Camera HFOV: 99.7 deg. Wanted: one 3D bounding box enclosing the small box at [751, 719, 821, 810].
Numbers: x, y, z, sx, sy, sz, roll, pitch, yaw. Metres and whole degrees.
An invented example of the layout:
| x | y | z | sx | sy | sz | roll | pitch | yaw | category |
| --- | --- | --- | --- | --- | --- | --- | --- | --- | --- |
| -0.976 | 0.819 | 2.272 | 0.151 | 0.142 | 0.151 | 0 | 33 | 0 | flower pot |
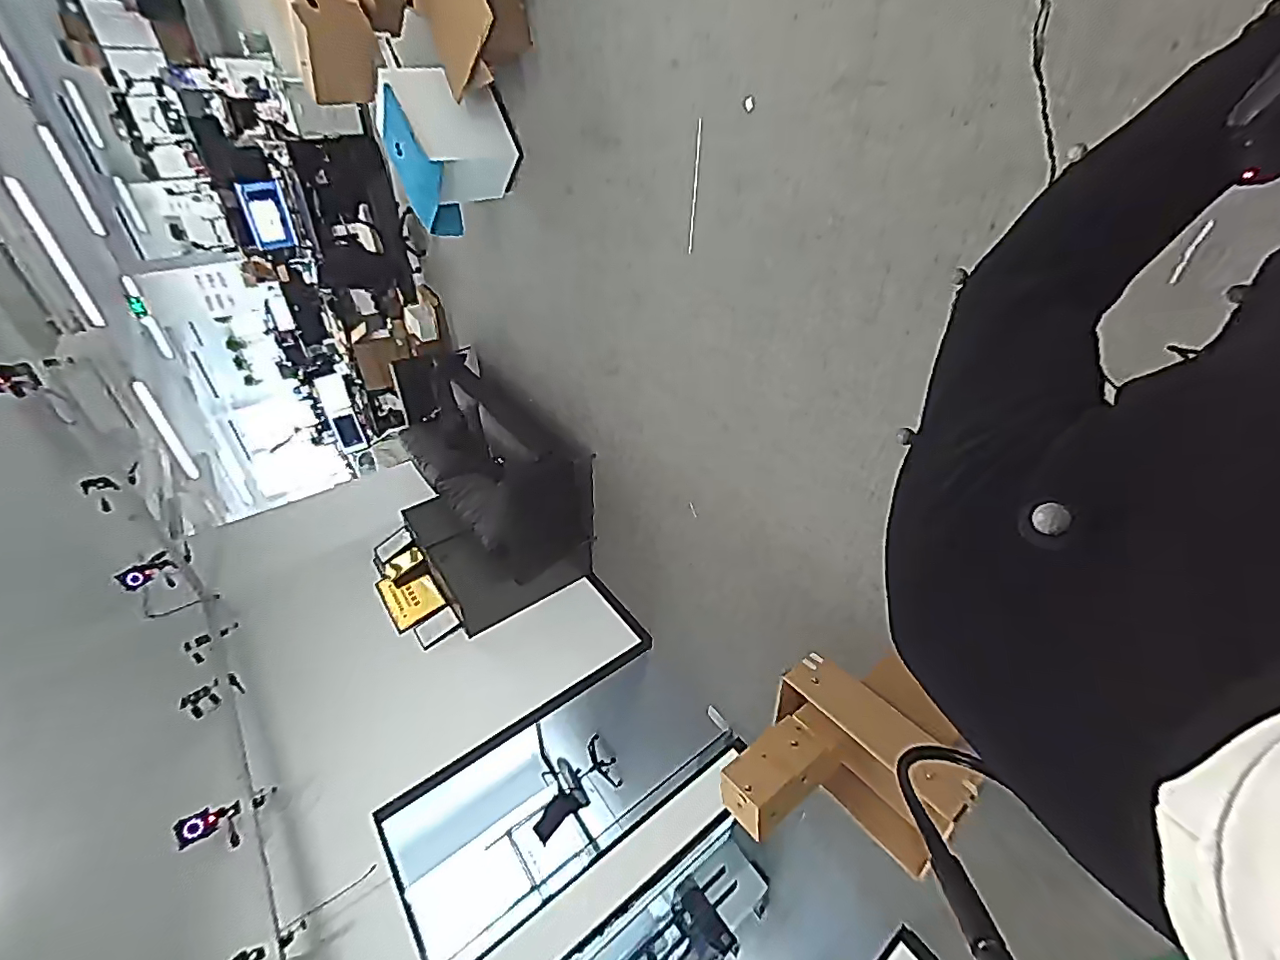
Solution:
| x | y | z | sx | sy | sz | roll | pitch | yaw | category |
| --- | --- | --- | --- | --- | --- | --- | --- | --- | --- |
| 0.490 | 0.952 | 1.824 | 0.168 | 0.176 | 0.179 | 29 | 134 | 47 | small box |

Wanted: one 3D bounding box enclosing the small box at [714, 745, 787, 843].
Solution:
| x | y | z | sx | sy | sz | roll | pitch | yaw | category |
| --- | --- | --- | --- | --- | --- | --- | --- | --- | --- |
| 0.359 | 1.006 | 1.742 | 0.168 | 0.176 | 0.179 | 25 | 132 | 48 | small box |
